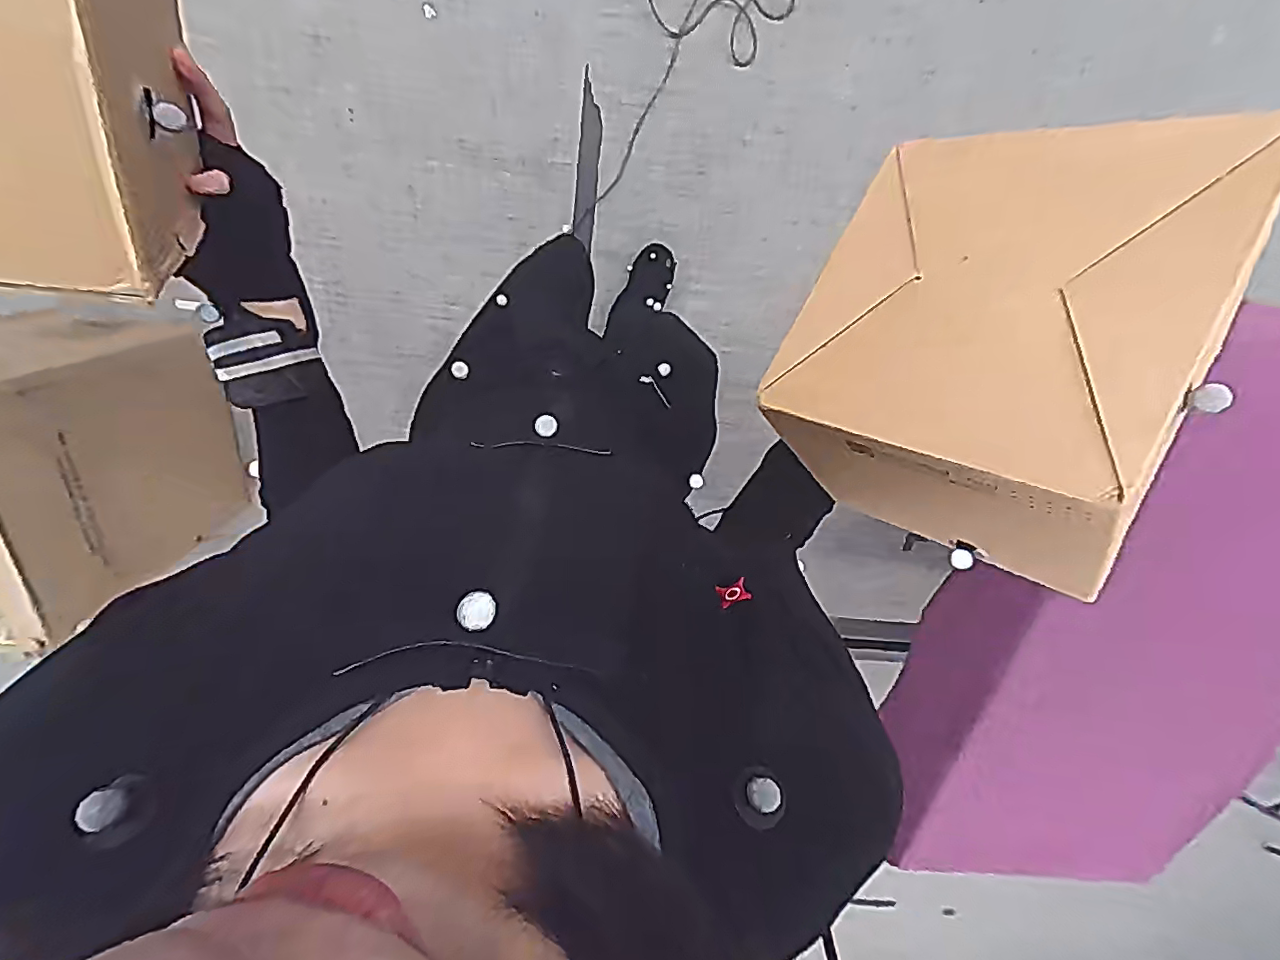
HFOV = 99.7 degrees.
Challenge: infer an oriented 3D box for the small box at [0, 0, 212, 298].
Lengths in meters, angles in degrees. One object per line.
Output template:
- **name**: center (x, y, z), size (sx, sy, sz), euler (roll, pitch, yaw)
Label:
- **small box**: center (-0.319, -0.204, 0.234), size (0.179, 0.168, 0.176), euler (0, 130, -28)

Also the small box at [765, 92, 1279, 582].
- **small box**: center (0.202, -0.069, 0.302), size (0.176, 0.168, 0.179), euler (32, 85, -47)
